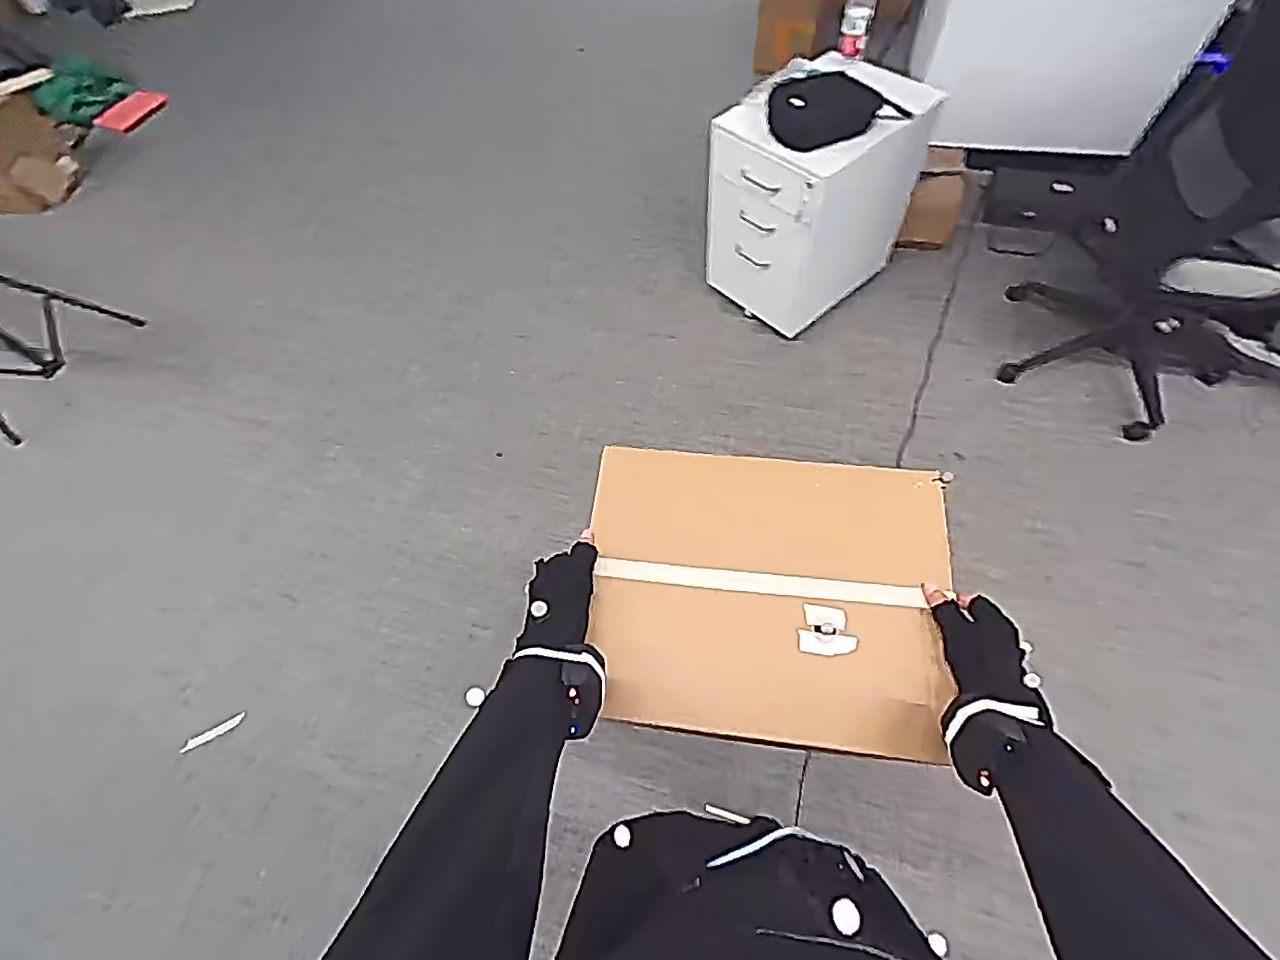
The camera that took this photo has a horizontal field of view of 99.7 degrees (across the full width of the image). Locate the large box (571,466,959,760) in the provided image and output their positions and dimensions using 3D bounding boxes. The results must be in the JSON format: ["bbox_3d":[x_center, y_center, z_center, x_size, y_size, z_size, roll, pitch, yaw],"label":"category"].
[{"bbox_3d":[0.143,0.194,0.751,0.408,0.320,0.320,4,66,6],"label":"large box"}]
